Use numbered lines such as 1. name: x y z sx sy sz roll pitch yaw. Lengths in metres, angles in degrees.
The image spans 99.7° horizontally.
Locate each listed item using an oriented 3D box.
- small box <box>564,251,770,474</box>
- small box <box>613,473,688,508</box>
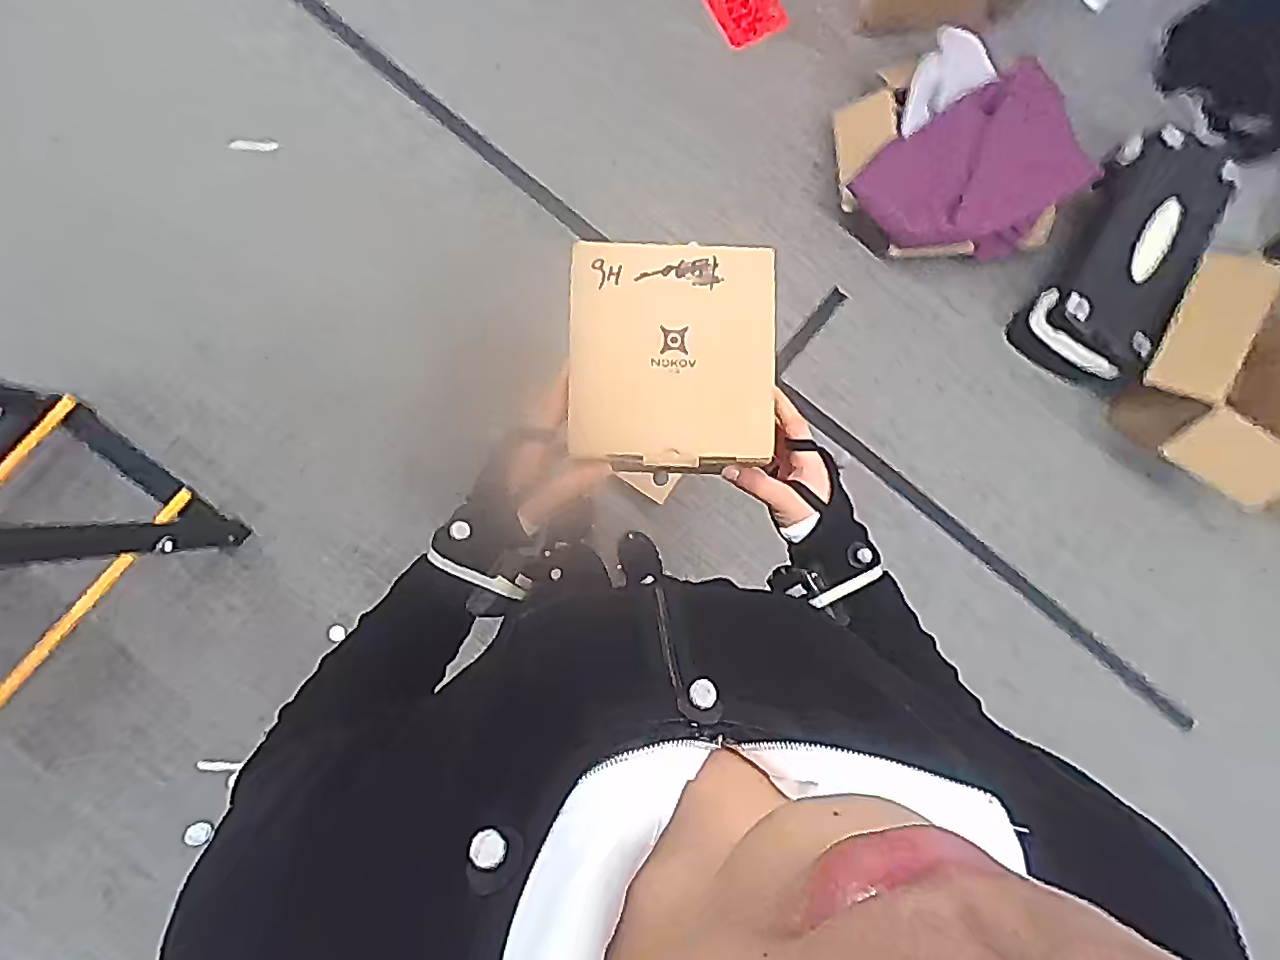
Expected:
1. small box: 0.021 -0.094 0.509 0.168 0.176 0.179 -1 88 -2
2. small box: 0.037 -0.042 1.434 0.168 0.176 0.179 34 87 0
